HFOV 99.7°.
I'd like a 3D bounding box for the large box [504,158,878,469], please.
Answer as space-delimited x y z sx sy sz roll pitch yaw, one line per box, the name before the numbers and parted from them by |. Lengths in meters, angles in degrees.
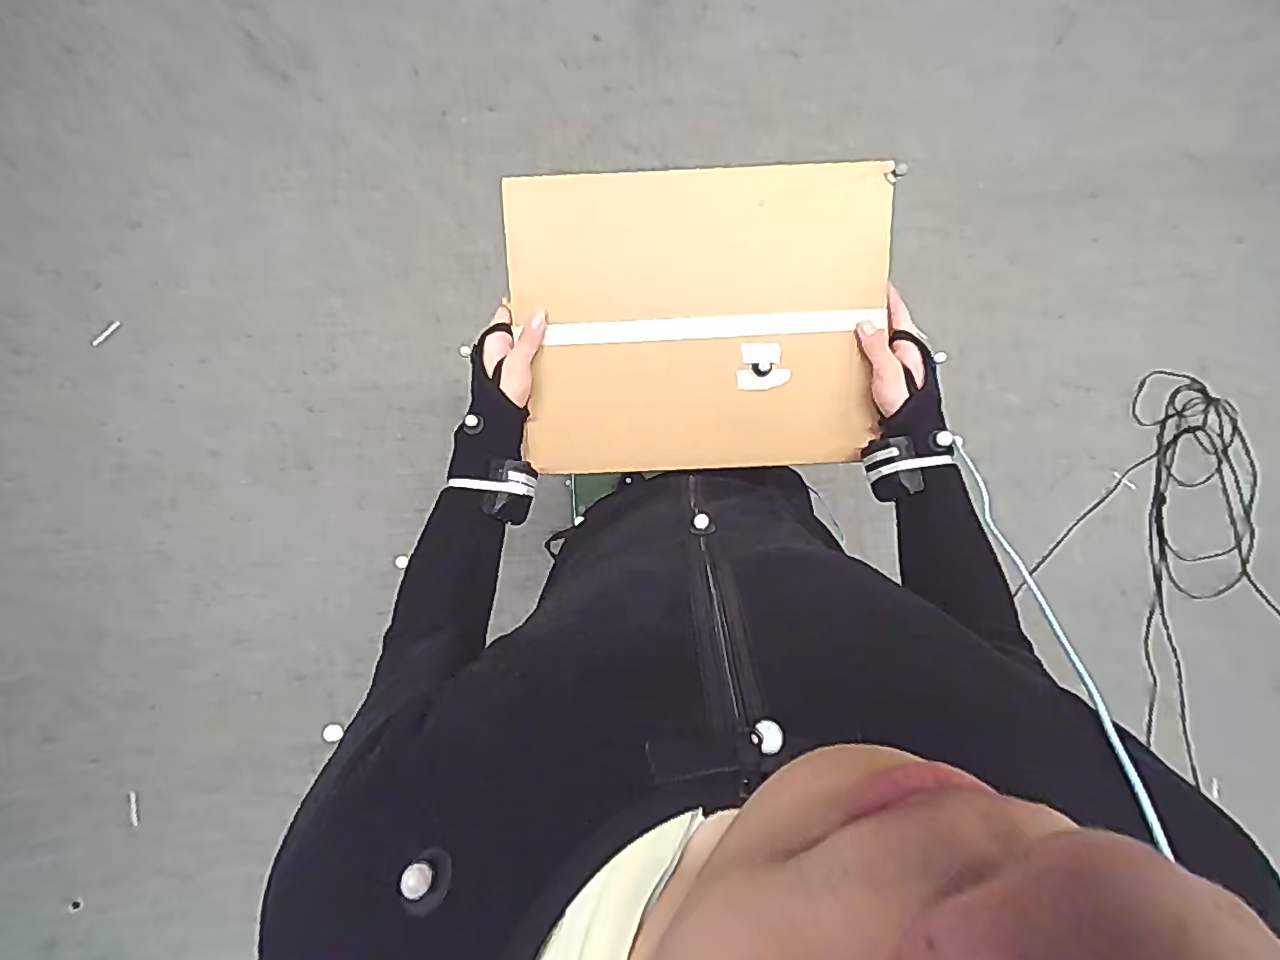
large box | 0.059 -0.204 0.742 0.408 0.320 0.320 -3 102 0
